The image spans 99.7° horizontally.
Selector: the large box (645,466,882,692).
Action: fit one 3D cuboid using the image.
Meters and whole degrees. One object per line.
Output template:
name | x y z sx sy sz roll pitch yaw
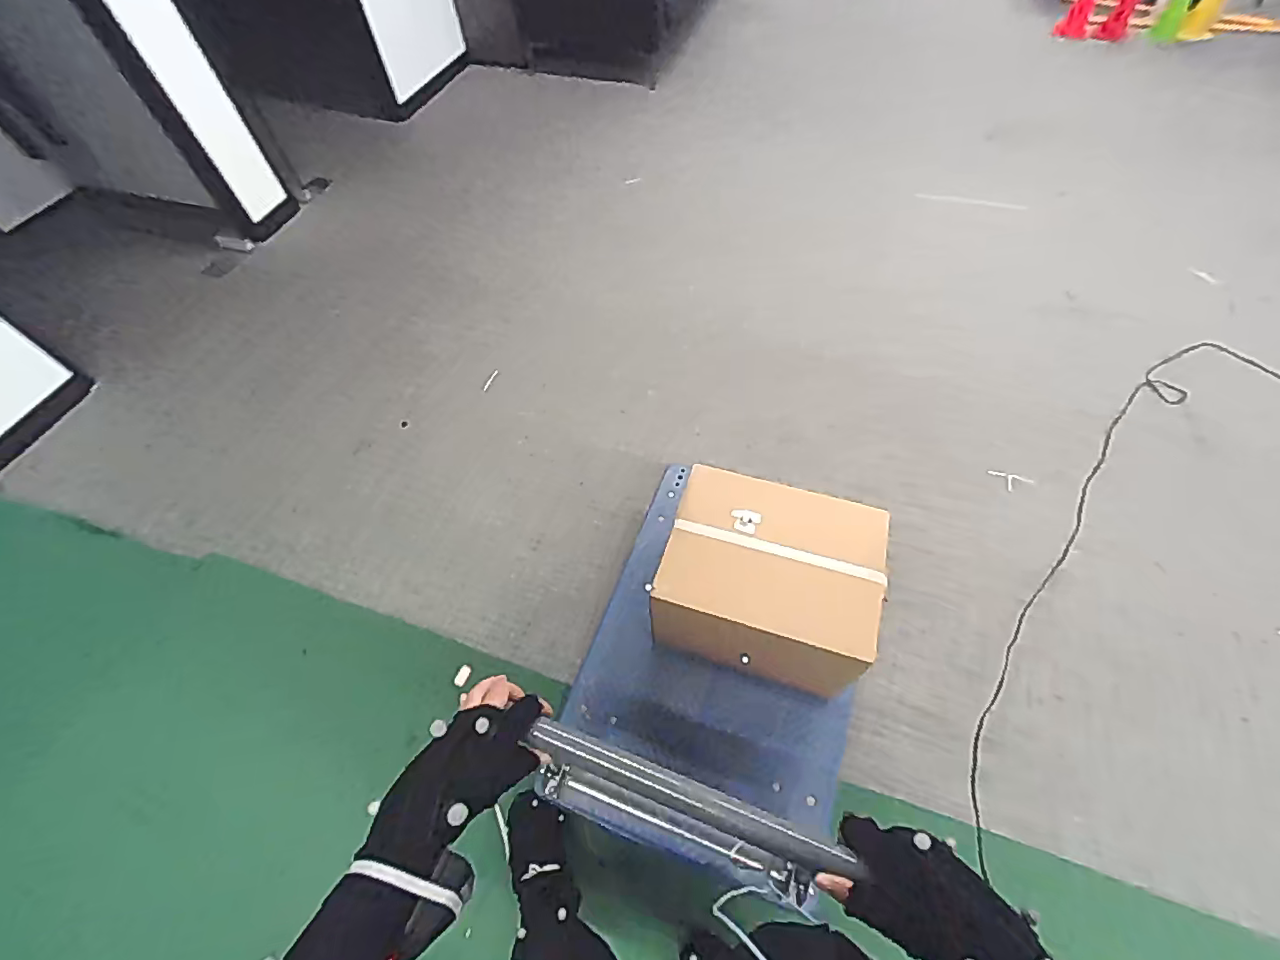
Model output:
large box | 0.255 0.217 1.159 0.408 0.320 0.320 15 59 14
